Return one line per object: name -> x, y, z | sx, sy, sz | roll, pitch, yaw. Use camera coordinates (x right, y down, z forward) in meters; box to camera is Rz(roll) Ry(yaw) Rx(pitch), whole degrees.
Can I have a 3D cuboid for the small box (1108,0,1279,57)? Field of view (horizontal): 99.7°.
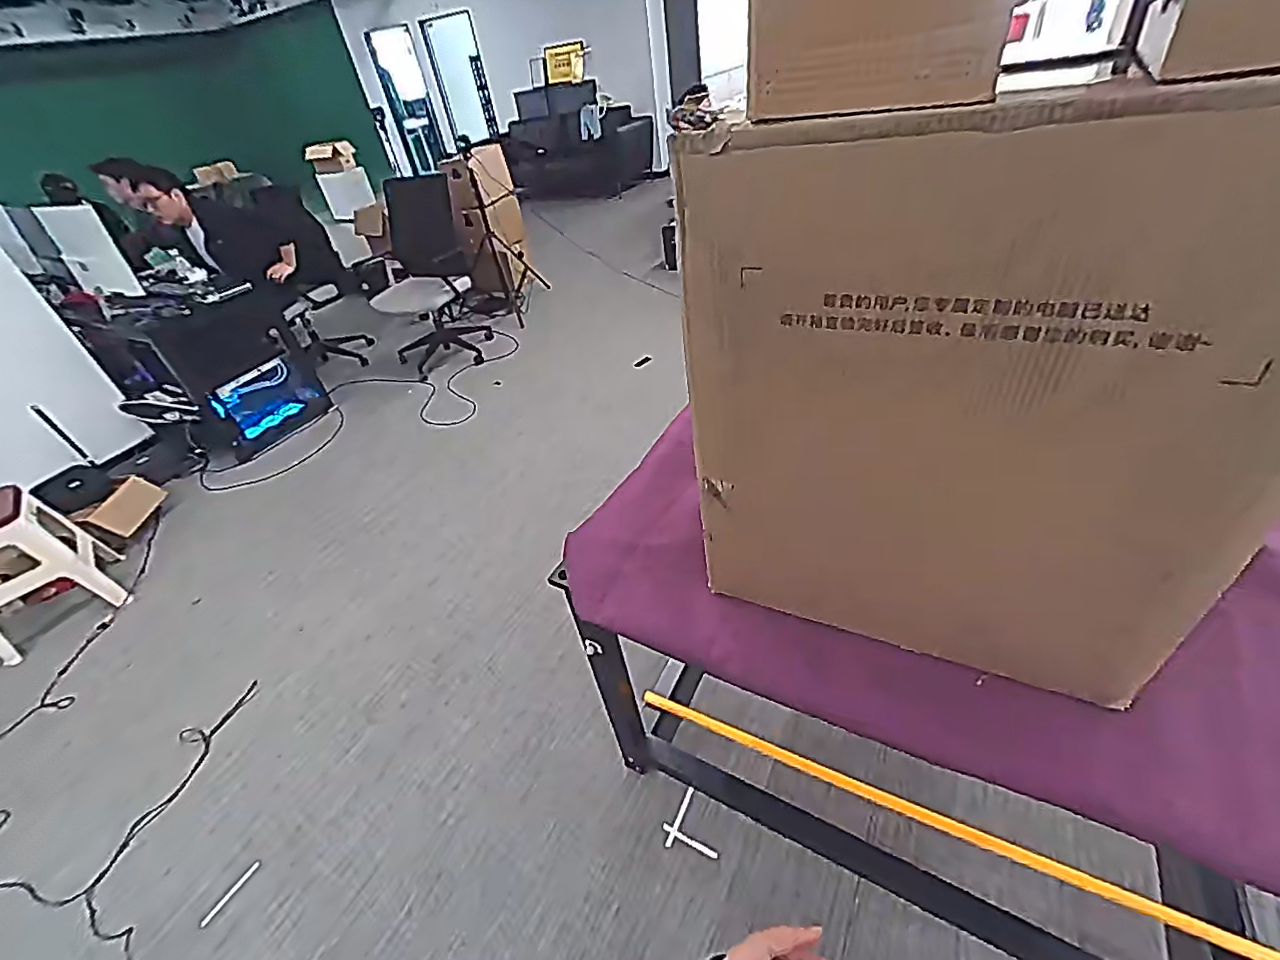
small box -> 0.511, -0.461, 0.436 | 0.168, 0.176, 0.179 | 13, 44, 28
